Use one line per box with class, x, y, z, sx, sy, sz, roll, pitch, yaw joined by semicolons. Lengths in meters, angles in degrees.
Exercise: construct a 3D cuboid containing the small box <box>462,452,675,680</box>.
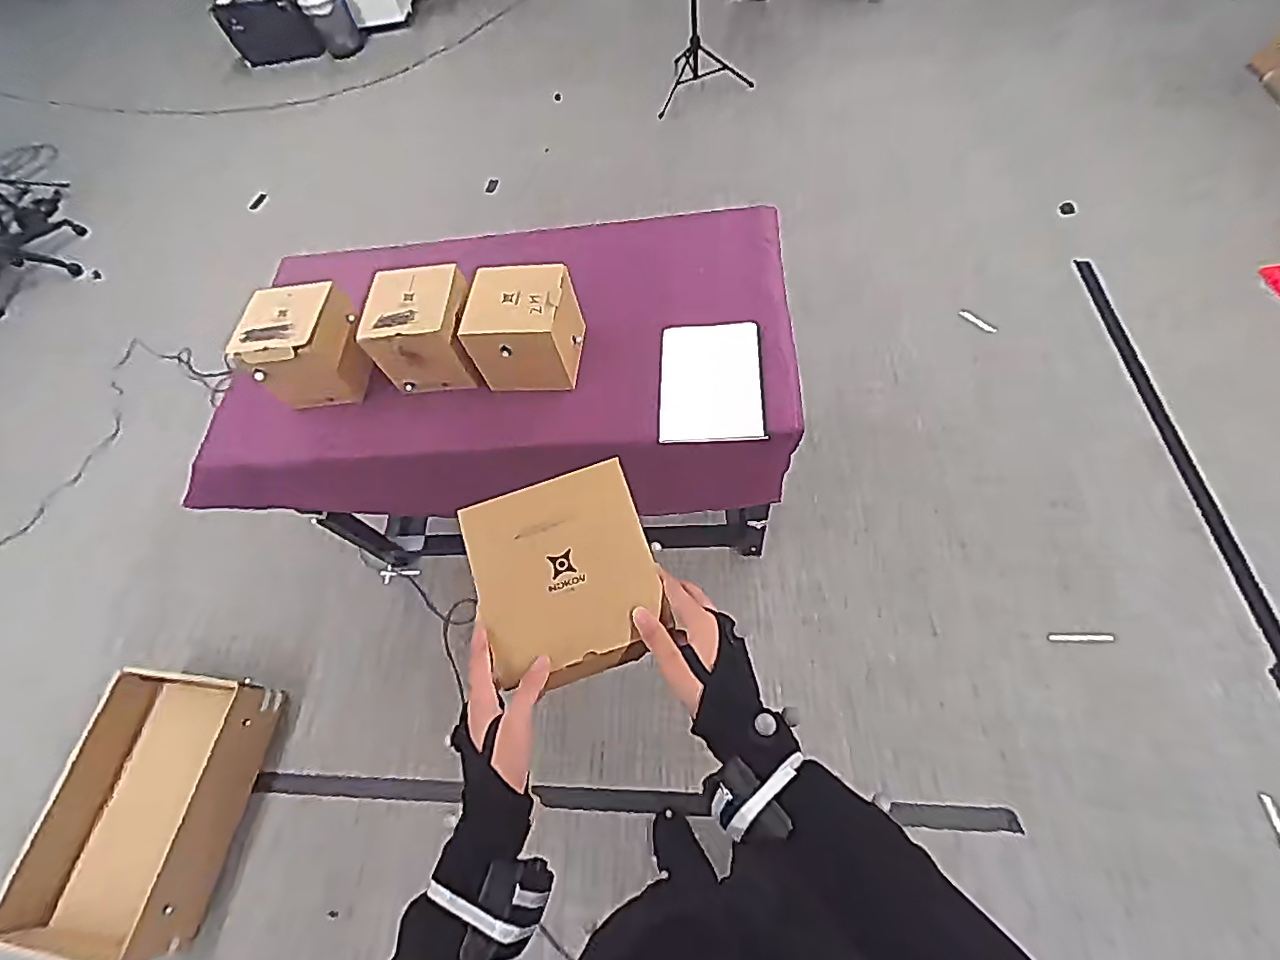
small box;-0.066;0.095;0.578;0.168;0.176;0.179;-18;74;-4
